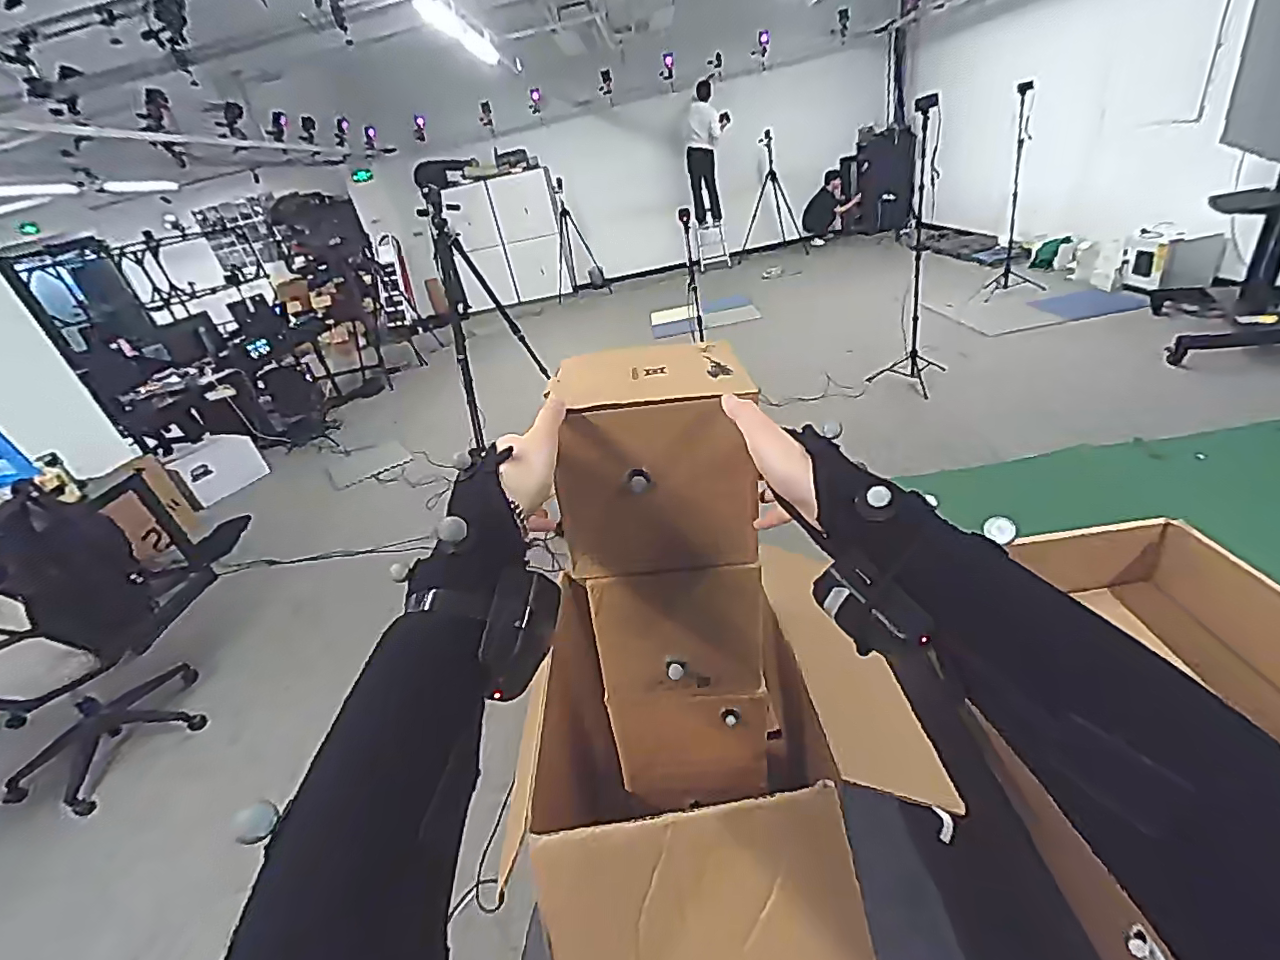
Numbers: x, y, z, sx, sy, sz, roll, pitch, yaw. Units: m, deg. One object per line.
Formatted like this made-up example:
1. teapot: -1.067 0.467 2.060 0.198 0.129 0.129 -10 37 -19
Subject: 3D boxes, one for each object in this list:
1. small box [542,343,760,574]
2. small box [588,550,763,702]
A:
1. small box: 0.016 -0.023 0.533 0.179 0.176 0.168 -7 28 2
2. small box: 0.038 0.120 0.611 0.168 0.176 0.179 -6 29 2
